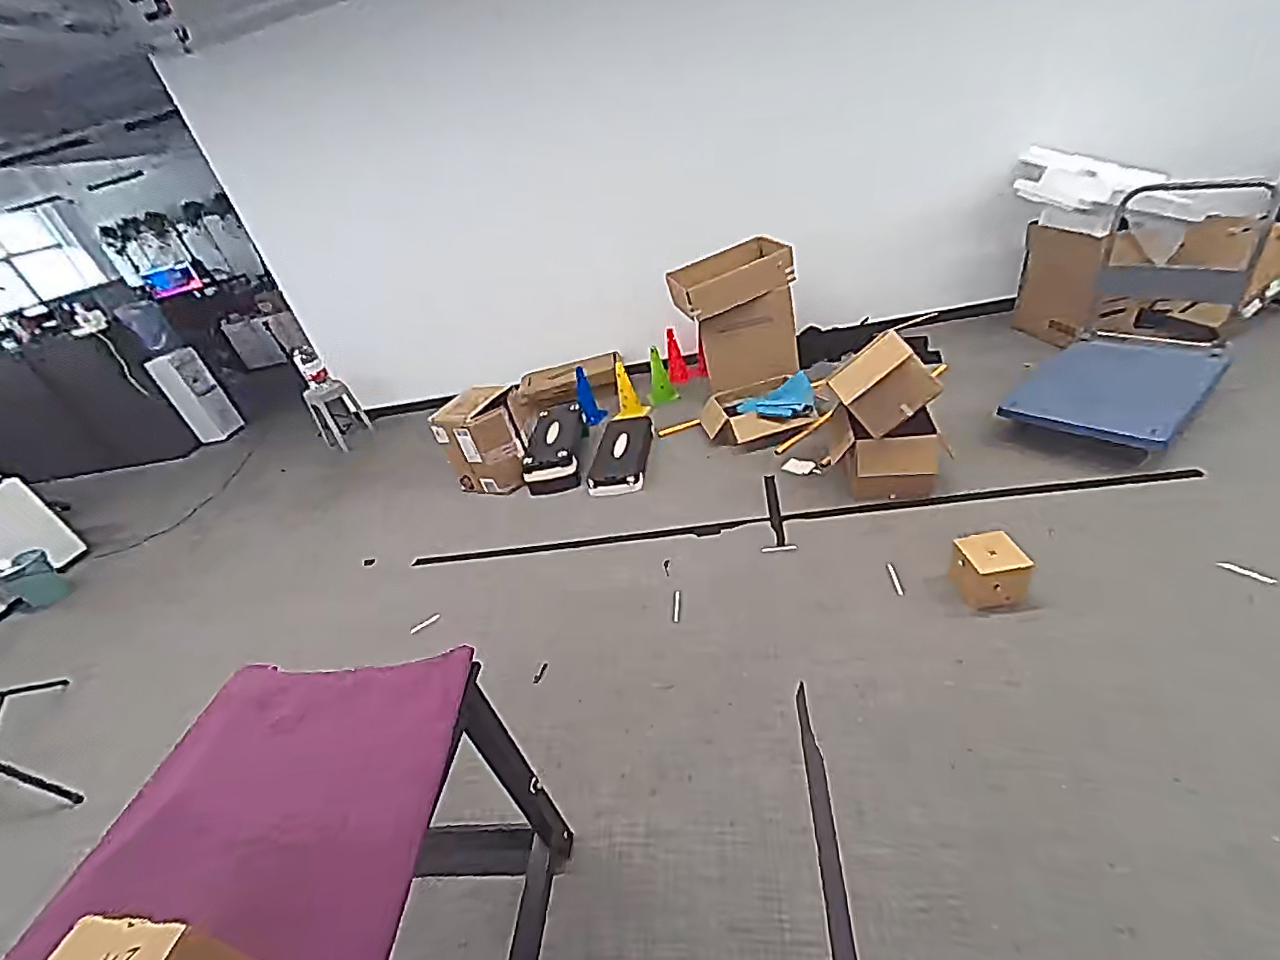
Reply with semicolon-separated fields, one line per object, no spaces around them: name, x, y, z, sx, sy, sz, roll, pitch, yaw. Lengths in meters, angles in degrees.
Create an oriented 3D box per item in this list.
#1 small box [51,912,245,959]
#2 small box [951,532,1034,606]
small box;-0.592;0.638;0.619;0.168;0.176;0.179;-6;33;13
small box;1.167;0.303;1.801;0.168;0.176;0.179;-11;32;5
